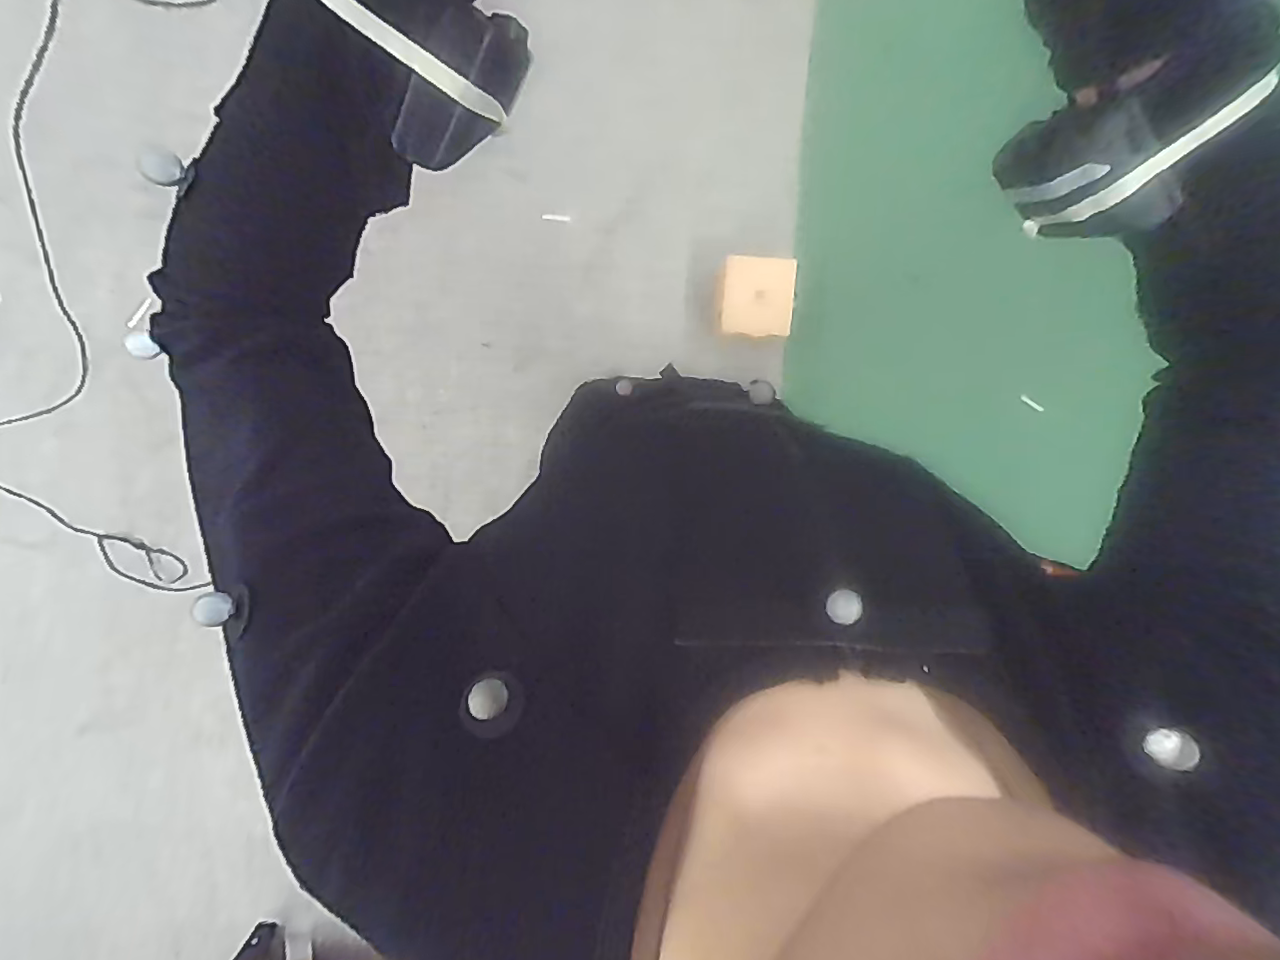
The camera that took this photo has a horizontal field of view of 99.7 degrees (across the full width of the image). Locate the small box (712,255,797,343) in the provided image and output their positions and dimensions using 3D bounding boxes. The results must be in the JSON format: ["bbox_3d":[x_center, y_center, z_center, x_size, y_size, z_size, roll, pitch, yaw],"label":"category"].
[{"bbox_3d":[0.273,-0.438,1.331,0.168,0.176,0.179,2,99,-1],"label":"small box"}]
